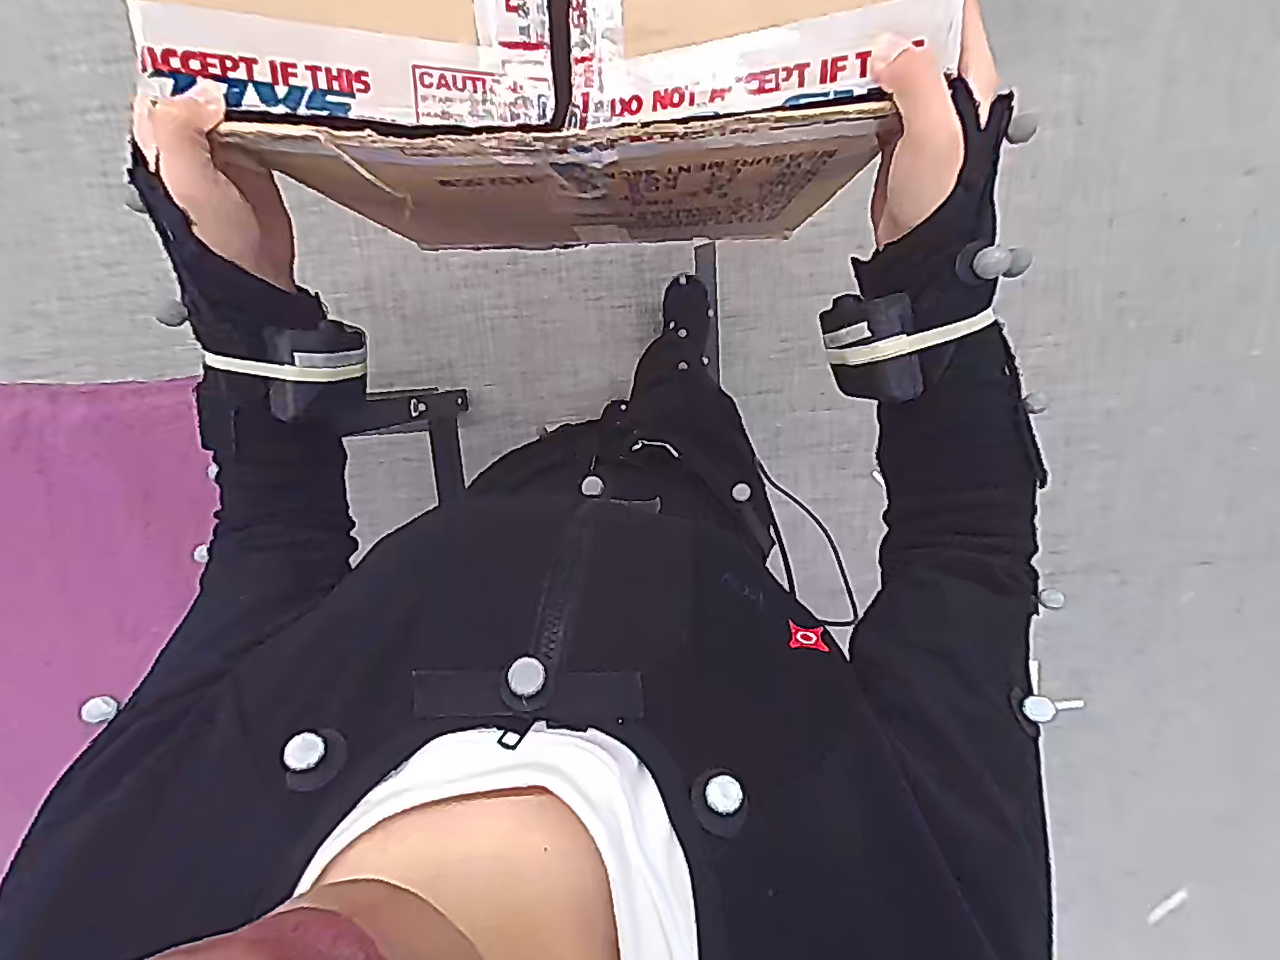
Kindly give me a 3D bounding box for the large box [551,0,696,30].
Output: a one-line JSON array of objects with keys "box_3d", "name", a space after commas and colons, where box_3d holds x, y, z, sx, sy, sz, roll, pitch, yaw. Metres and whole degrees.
[{"box_3d": [-0.050, -1.162, 1.001, 0.320, 0.320, 0.408, -5, 102, 1], "name": "large box"}]
